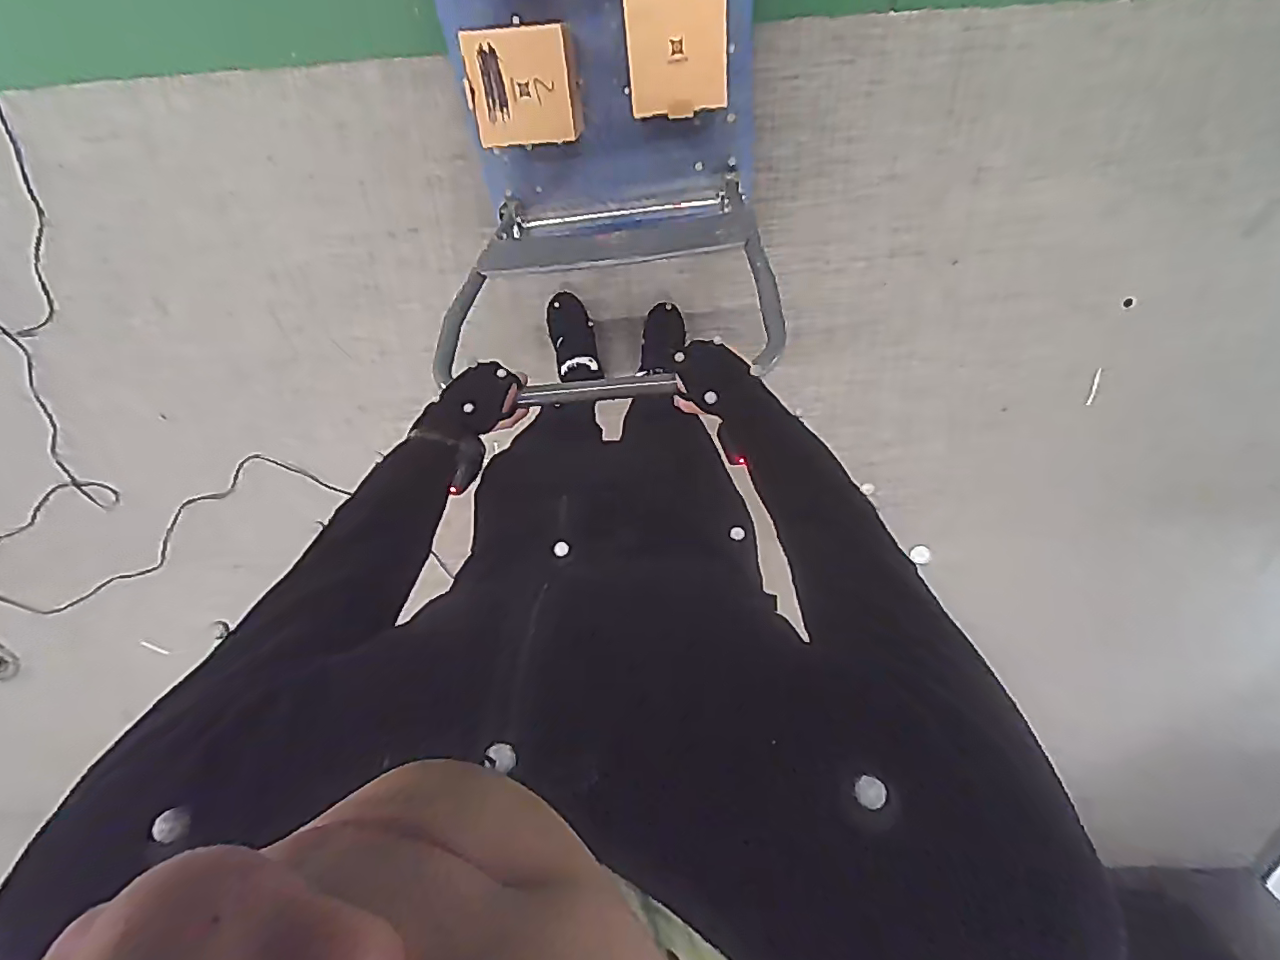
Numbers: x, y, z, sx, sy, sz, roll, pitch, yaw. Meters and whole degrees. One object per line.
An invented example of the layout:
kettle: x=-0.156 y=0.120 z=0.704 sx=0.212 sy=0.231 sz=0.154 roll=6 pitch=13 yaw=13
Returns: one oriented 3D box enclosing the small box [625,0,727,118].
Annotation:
small box: x=0.062 y=-0.765 z=0.960 sx=0.168 sy=0.176 sz=0.179 roll=-4 pitch=130 yaw=5
